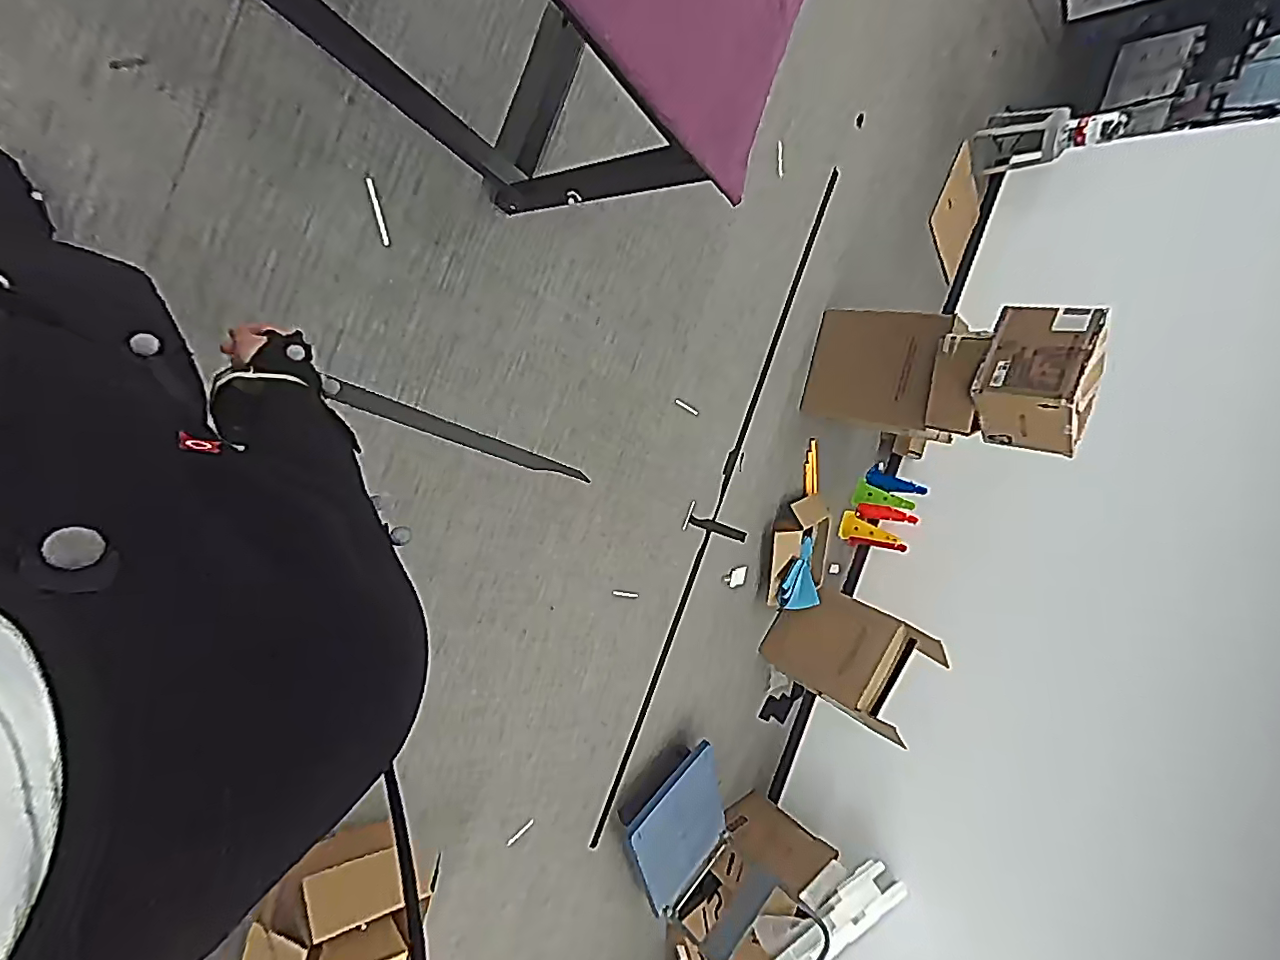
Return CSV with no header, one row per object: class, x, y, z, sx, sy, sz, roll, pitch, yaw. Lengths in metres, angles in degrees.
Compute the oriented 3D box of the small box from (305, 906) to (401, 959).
small box,-0.755,1.267,1.396,0.168,0.176,0.179,18,90,-49
